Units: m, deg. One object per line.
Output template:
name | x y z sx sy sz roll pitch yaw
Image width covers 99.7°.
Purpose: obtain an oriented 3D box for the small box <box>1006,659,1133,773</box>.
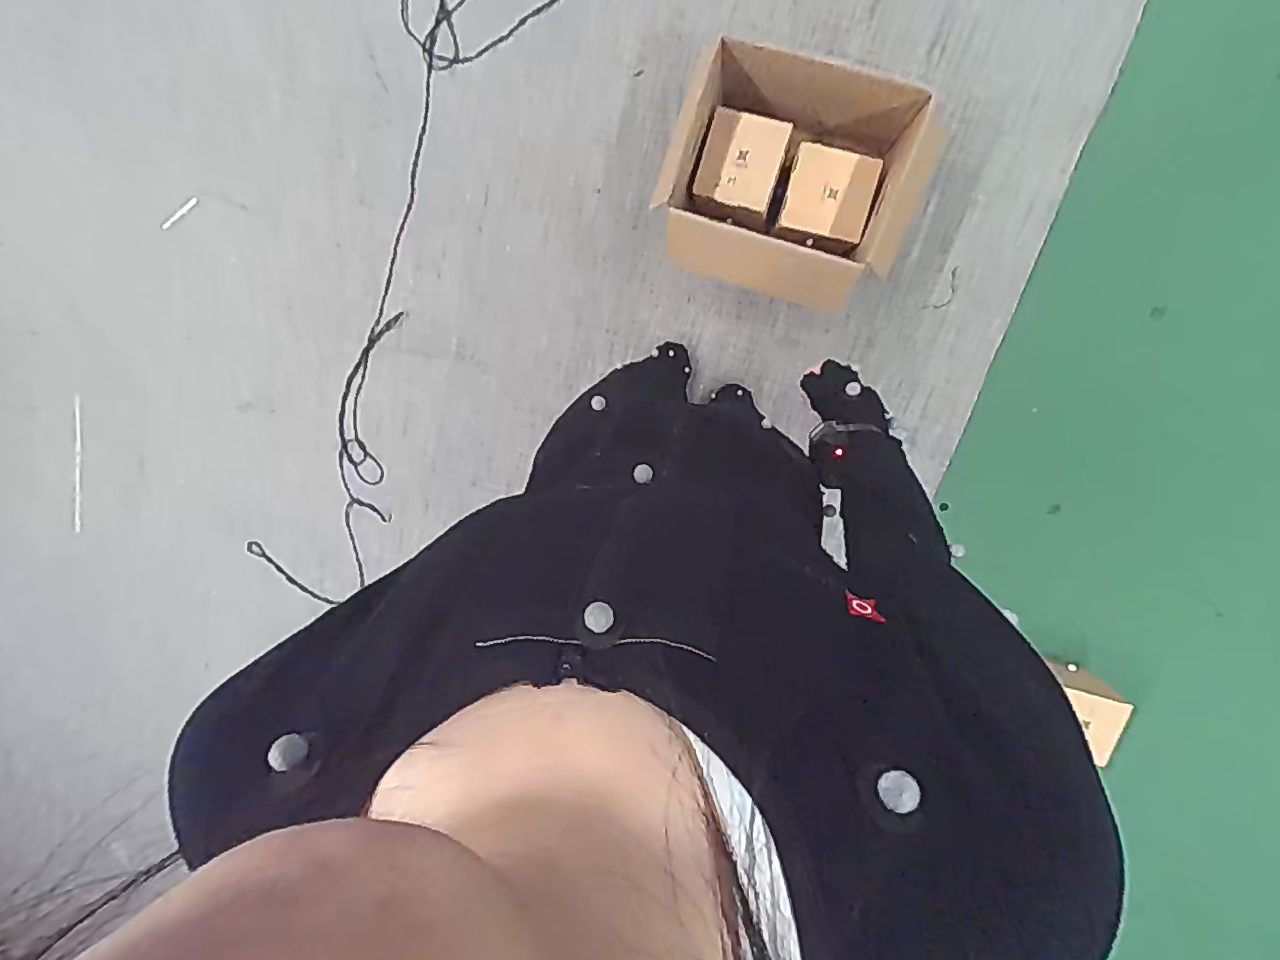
small box | 1.073 0.591 1.372 0.168 0.176 0.179 15 102 5
